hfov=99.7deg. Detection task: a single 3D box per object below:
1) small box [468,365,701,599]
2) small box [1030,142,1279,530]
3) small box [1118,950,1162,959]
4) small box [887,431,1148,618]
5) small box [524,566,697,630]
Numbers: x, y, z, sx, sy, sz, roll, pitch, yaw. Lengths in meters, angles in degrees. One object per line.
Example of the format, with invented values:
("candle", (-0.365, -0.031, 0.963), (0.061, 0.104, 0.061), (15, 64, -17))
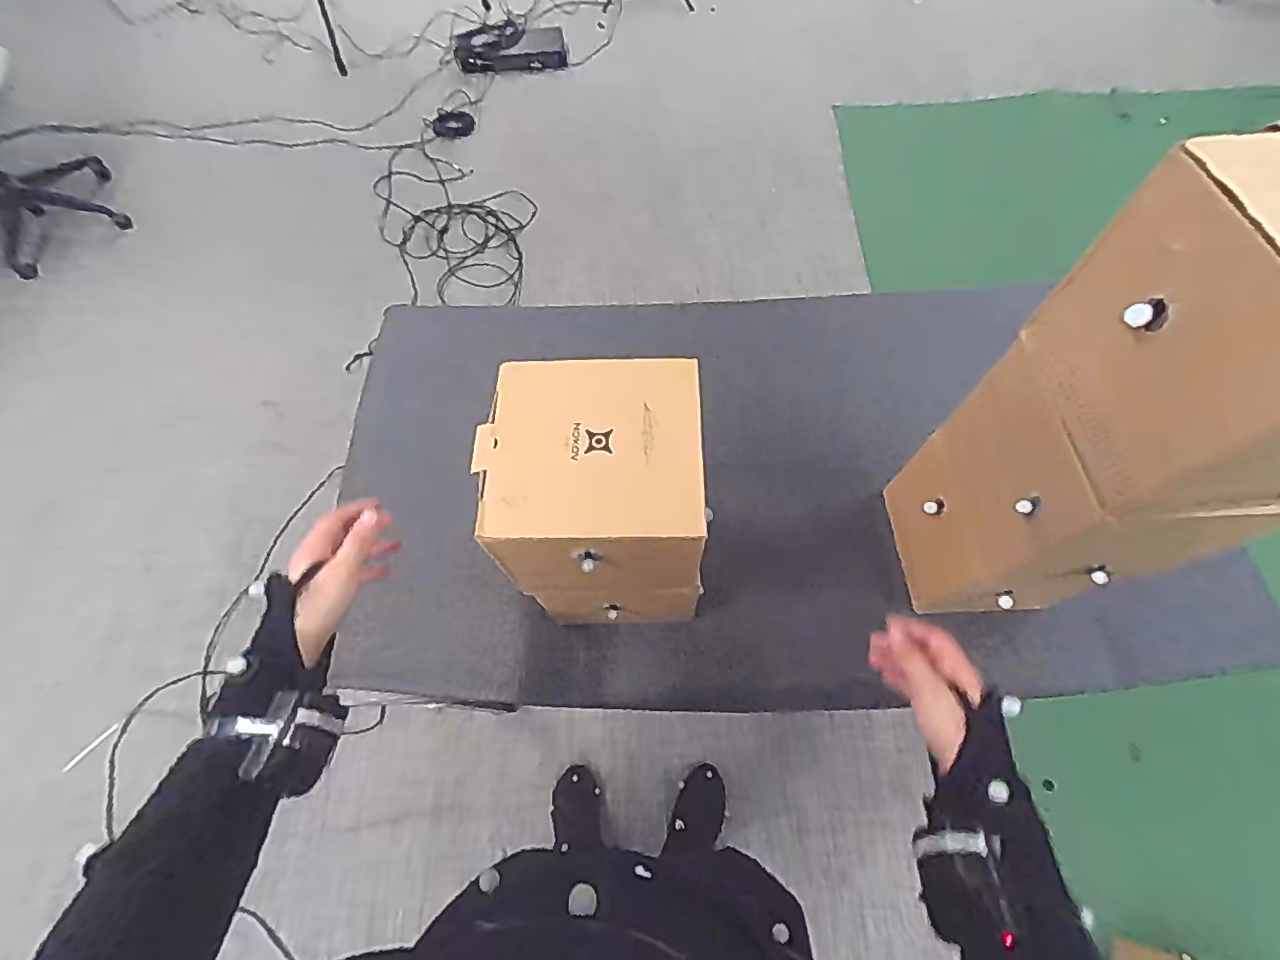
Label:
("small box", (-0.037, 0.011, 0.502), (0.179, 0.176, 0.168), (-1, 64, 1))
("small box", (0.401, -0.085, 0.343), (0.168, 0.176, 0.179), (-6, 63, 0))
("small box", (1.007, 0.992, 0.971), (0.179, 0.176, 0.168), (13, 67, 8))
("small box", (0.417, 0.062, 0.637), (0.168, 0.176, 0.179), (-3, 63, 1))
("small box", (-0.028, 0.080, 0.648), (0.179, 0.176, 0.168), (-2, 63, 3))
